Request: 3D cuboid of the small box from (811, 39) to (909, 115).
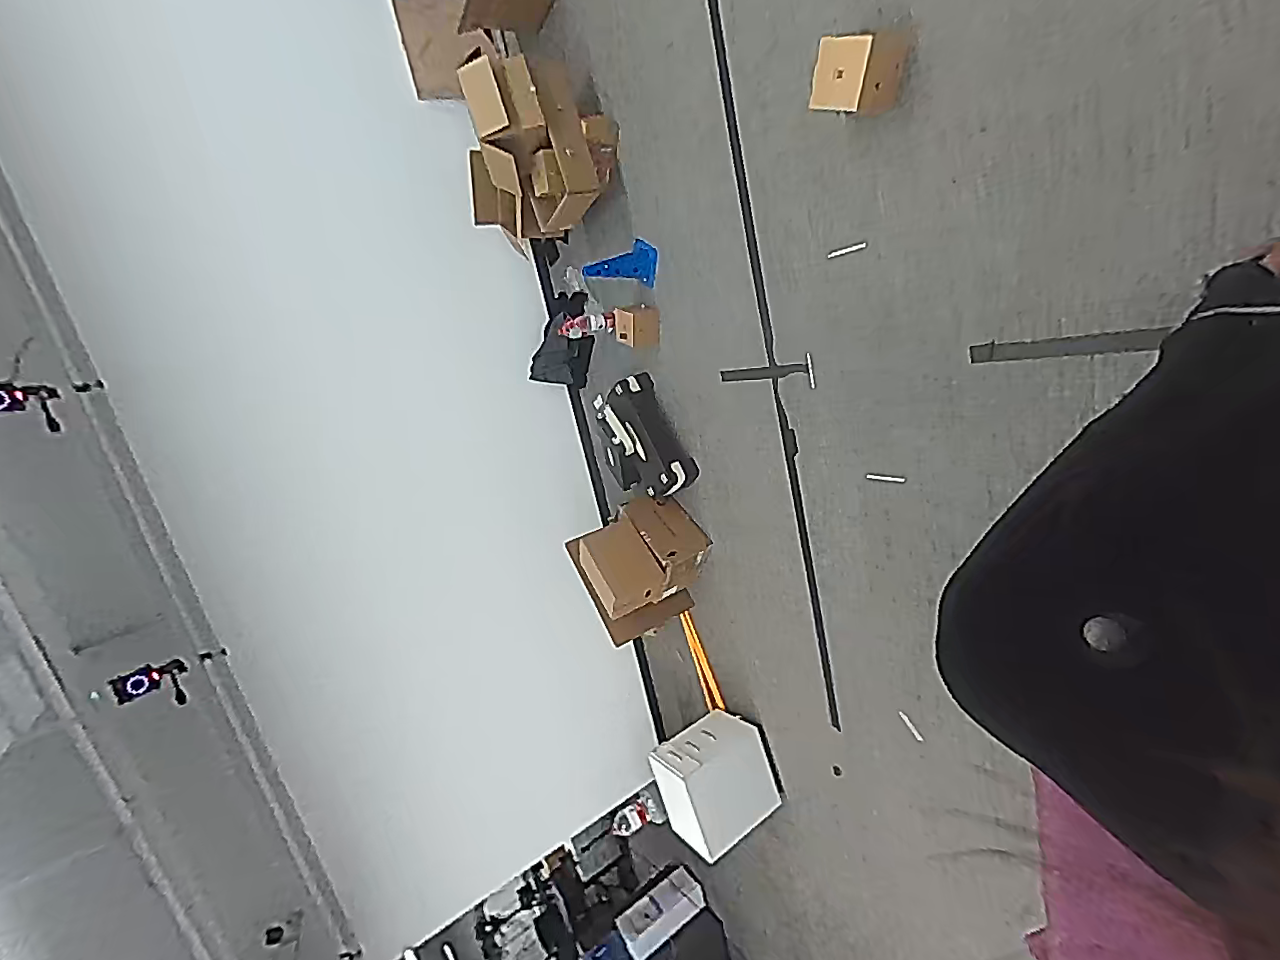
[{"bbox_3d":[0.619,-1.134,1.523,0.179,0.176,0.168,42,141,42],"label":"small box"}]
